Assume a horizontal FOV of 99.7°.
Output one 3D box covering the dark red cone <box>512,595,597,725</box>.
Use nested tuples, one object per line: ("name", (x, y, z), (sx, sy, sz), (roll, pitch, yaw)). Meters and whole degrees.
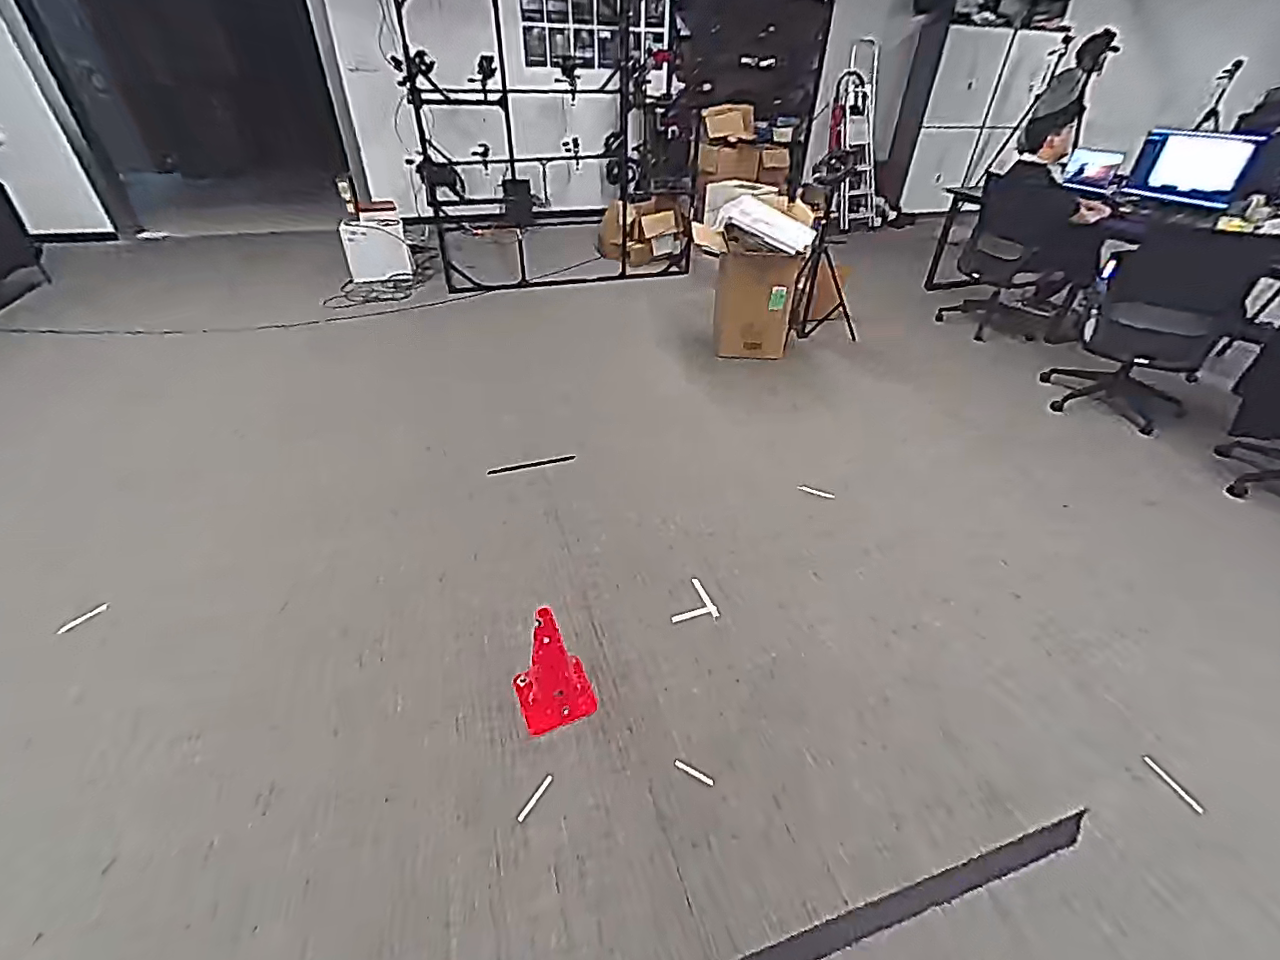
("dark red cone", (-0.236, 0.441, 1.407), (0.202, 0.394, 0.201), (-15, 41, -21))
